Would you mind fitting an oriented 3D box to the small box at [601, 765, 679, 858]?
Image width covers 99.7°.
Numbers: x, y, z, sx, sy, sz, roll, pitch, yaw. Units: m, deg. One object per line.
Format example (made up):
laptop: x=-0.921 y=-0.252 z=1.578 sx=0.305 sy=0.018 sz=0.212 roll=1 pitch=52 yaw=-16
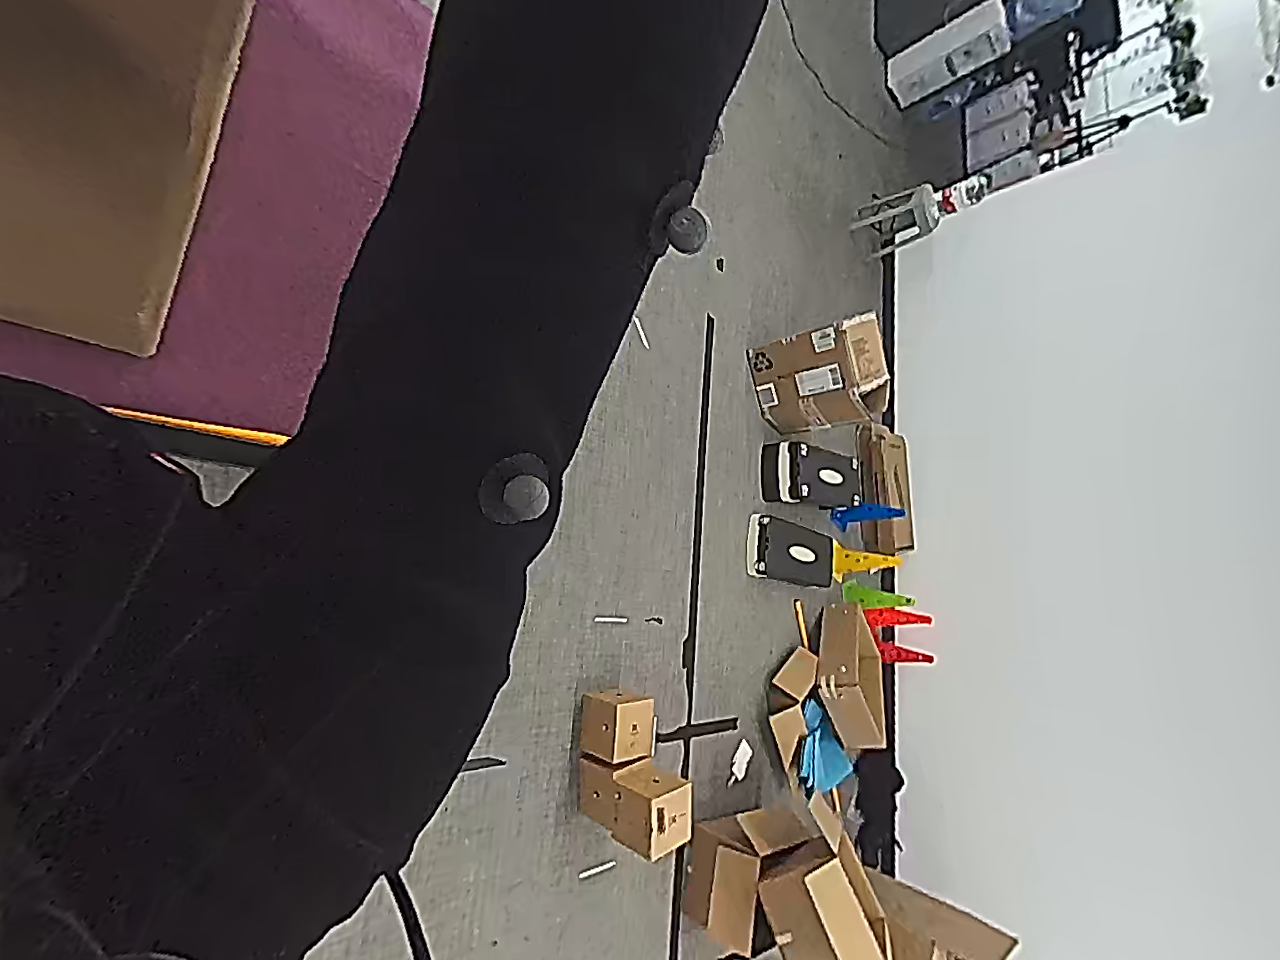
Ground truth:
small box: x=-0.001 y=0.986 z=1.622 sx=0.179 sy=0.176 sz=0.168 roll=8 pitch=81 yaw=-46
